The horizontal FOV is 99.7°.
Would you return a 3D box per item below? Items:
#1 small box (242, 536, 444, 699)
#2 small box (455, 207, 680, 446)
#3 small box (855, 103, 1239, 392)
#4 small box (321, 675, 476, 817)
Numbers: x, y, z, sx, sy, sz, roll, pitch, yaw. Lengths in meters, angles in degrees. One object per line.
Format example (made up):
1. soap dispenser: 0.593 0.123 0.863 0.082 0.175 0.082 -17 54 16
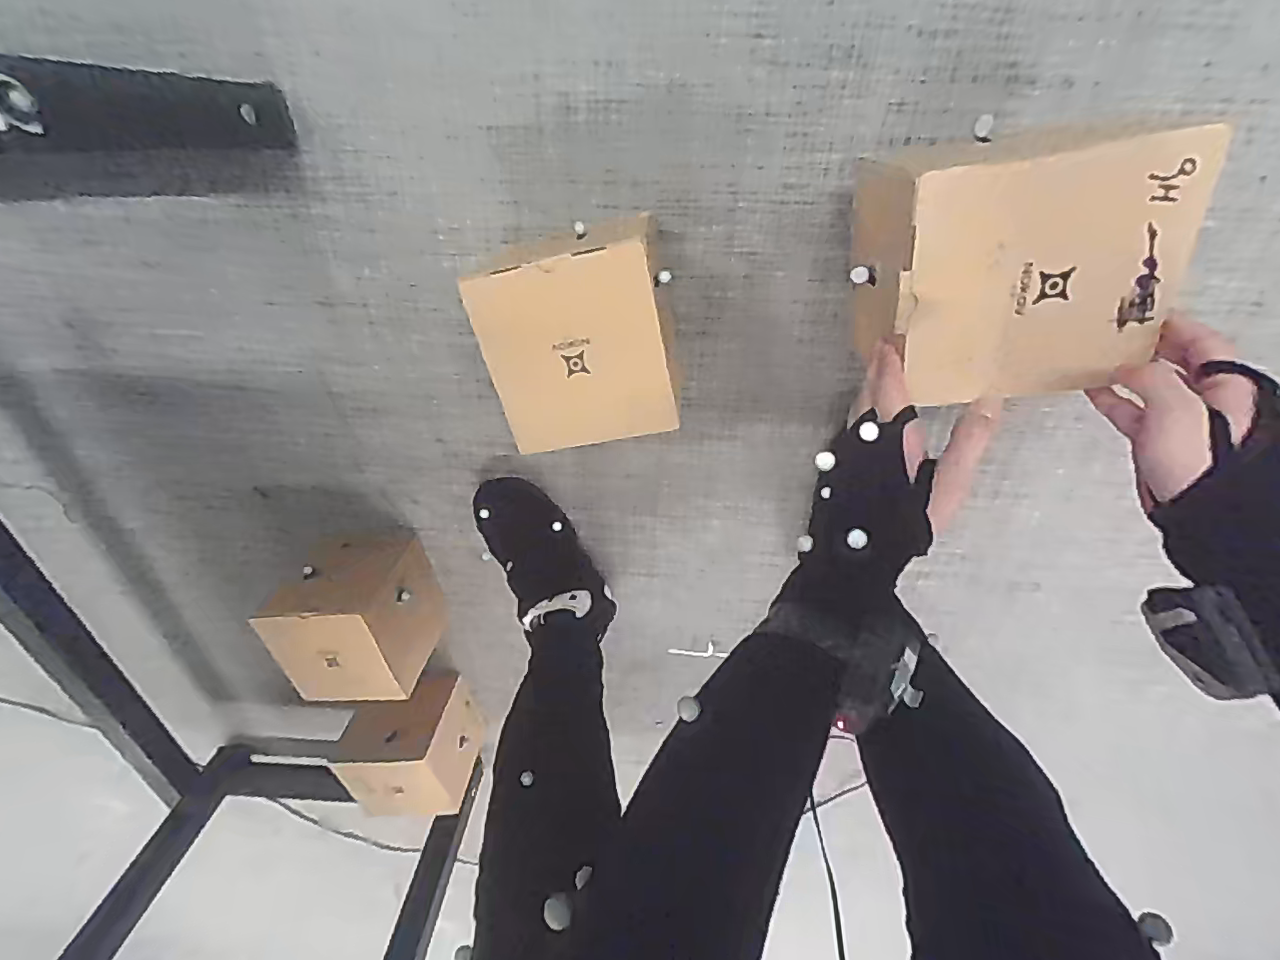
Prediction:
1. small box: -0.413 0.192 0.789 0.168 0.176 0.179 -3 122 7
2. small box: -0.053 -0.159 0.548 0.168 0.176 0.179 -9 120 10
3. small box: 0.281 -0.185 0.433 0.179 0.176 0.168 -5 122 10
4. small box: -0.406 0.464 0.954 0.179 0.176 0.168 -5 121 8
